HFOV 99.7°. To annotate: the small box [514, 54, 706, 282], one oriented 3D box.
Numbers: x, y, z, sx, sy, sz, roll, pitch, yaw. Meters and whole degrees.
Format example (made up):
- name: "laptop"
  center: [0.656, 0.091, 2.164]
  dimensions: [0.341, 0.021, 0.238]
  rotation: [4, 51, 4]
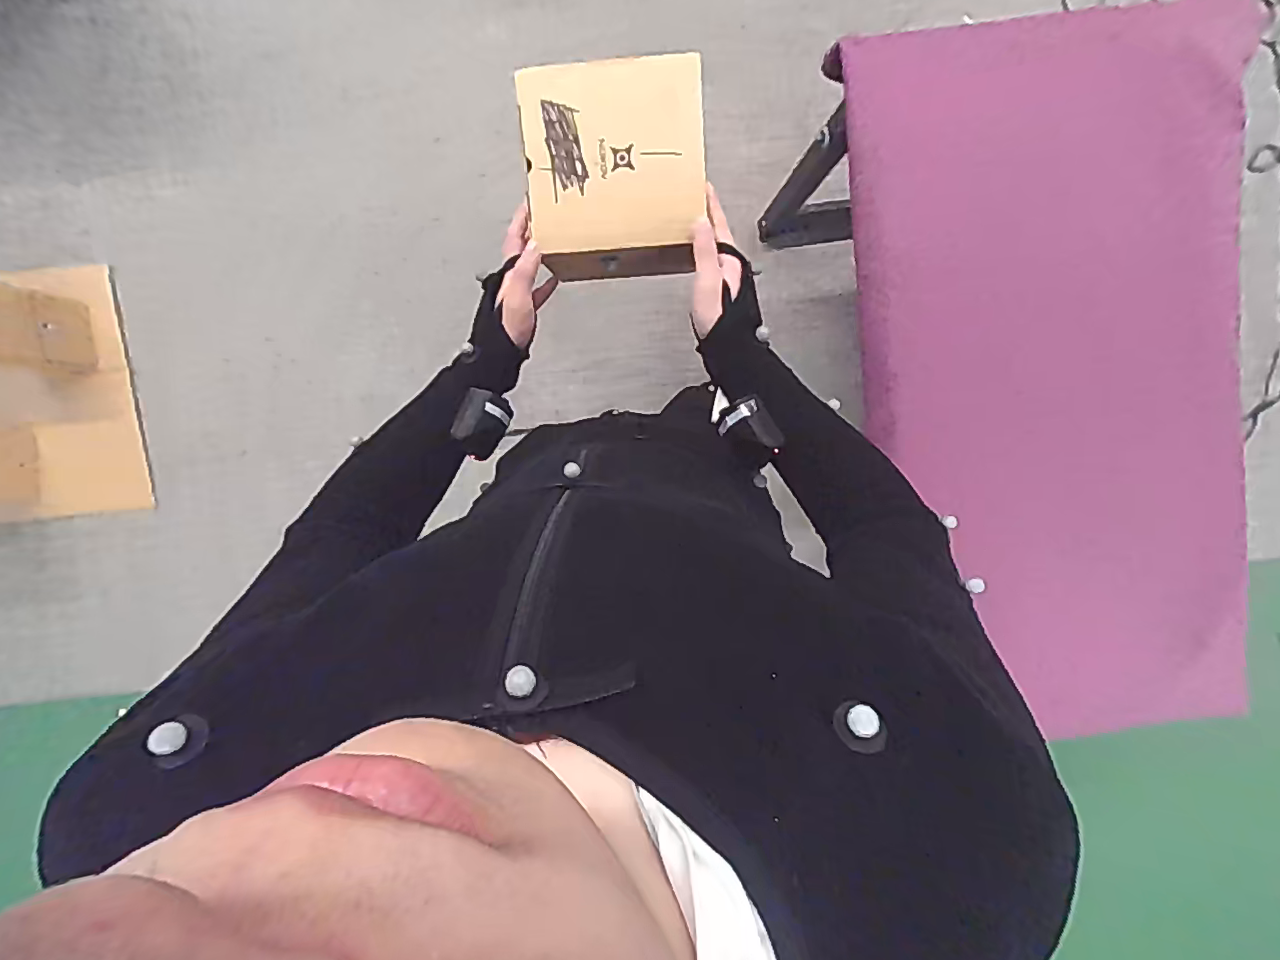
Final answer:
- name: "small box"
  center: [-0.024, -0.321, 0.593]
  dimensions: [0.179, 0.176, 0.168]
  rotation: [-4, 101, 1]
